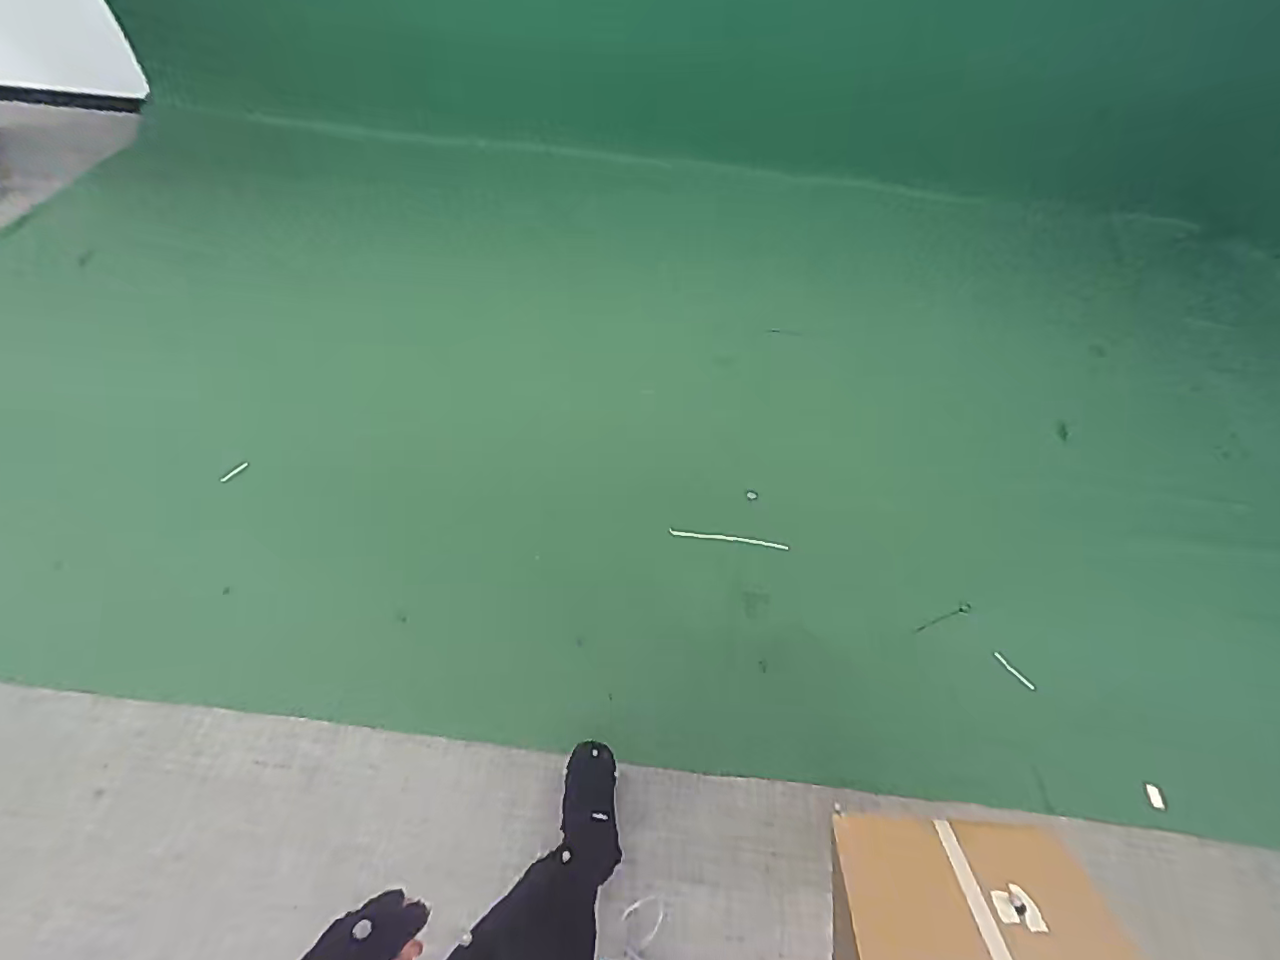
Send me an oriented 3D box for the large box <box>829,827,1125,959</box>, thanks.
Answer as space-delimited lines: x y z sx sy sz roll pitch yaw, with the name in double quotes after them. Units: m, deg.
0.425 0.721 0.654 0.320 0.320 0.408 -1 10 11 "large box"
